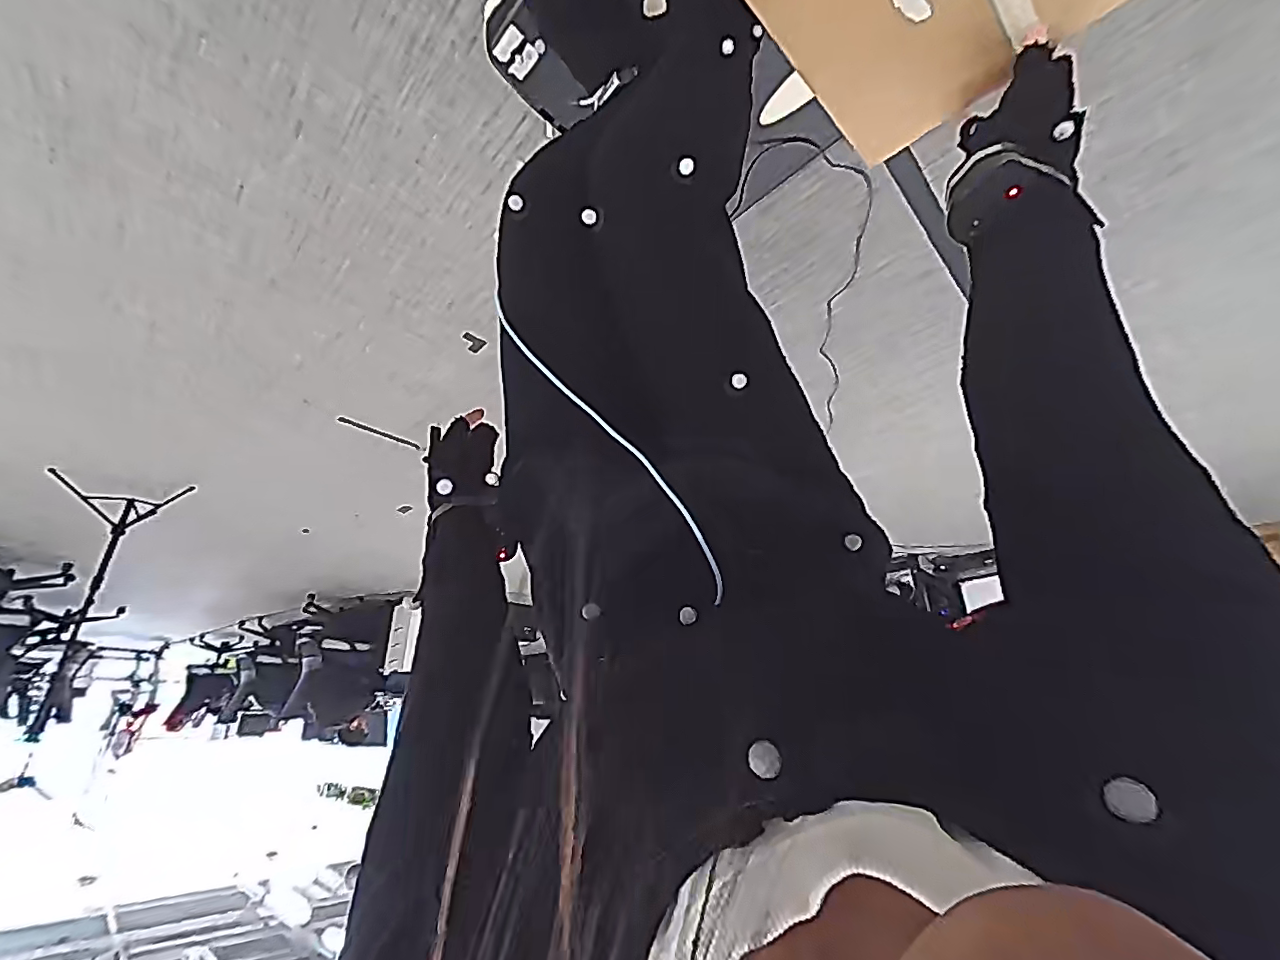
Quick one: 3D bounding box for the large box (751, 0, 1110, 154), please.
[{"bbox_3d":[0.220,-0.592,0.433,0.408,0.320,0.320,22,153,-37],"label":"large box"}]
